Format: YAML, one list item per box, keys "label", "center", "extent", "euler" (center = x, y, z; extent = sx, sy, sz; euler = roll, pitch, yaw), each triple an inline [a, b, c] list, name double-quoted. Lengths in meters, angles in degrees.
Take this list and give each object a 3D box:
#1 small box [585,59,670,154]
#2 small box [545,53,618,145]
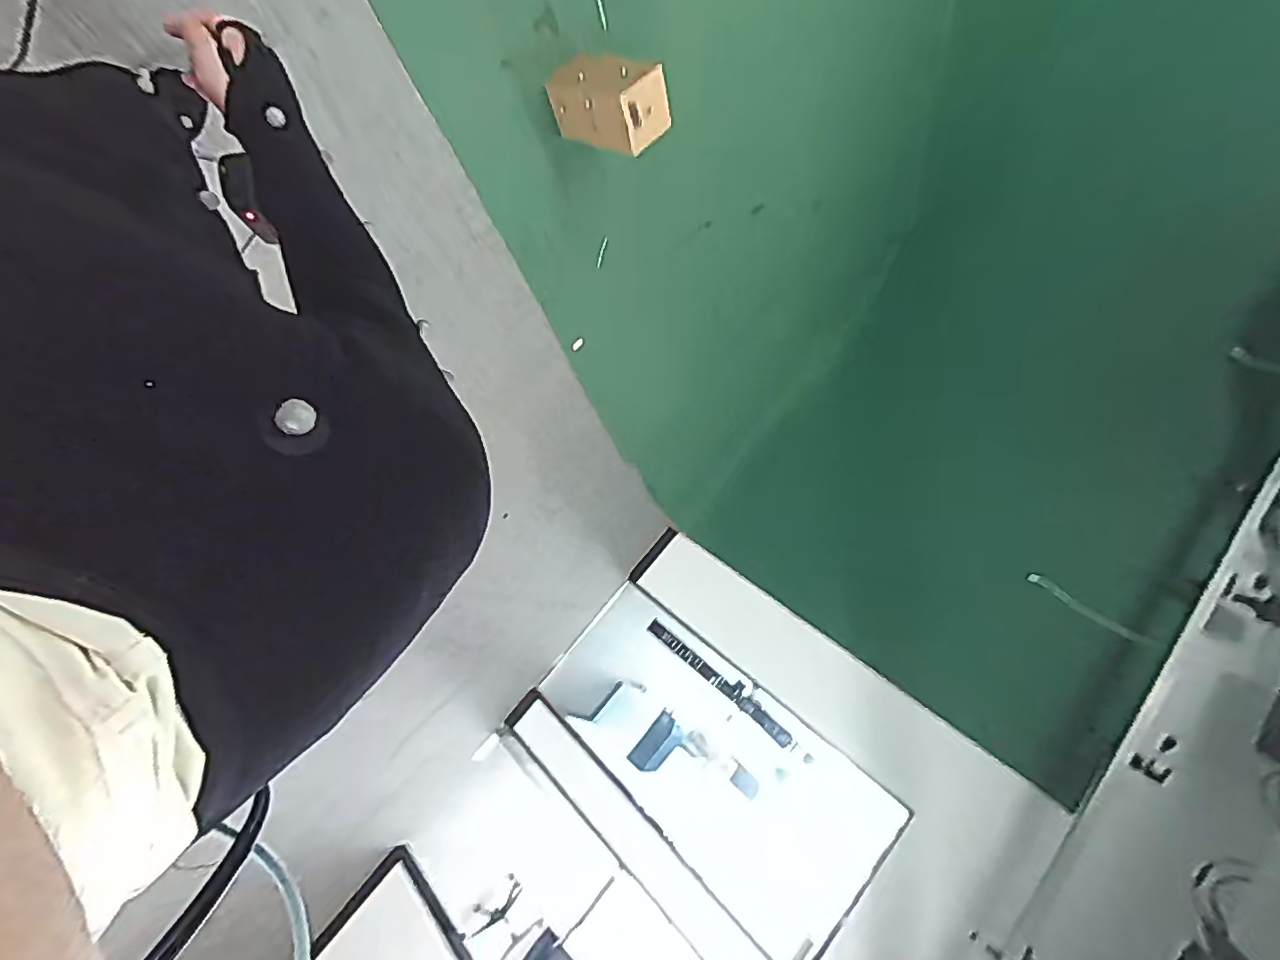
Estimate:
- label: "small box"
  center: [-0.042, -1.093, 1.581]
  extent: [0.179, 0.176, 0.168]
  euler: [-47, 150, -15]
- label: "small box"
  center: [-0.159, -1.175, 1.663]
  extent: [0.179, 0.176, 0.168]
  euler: [-47, 149, -14]
